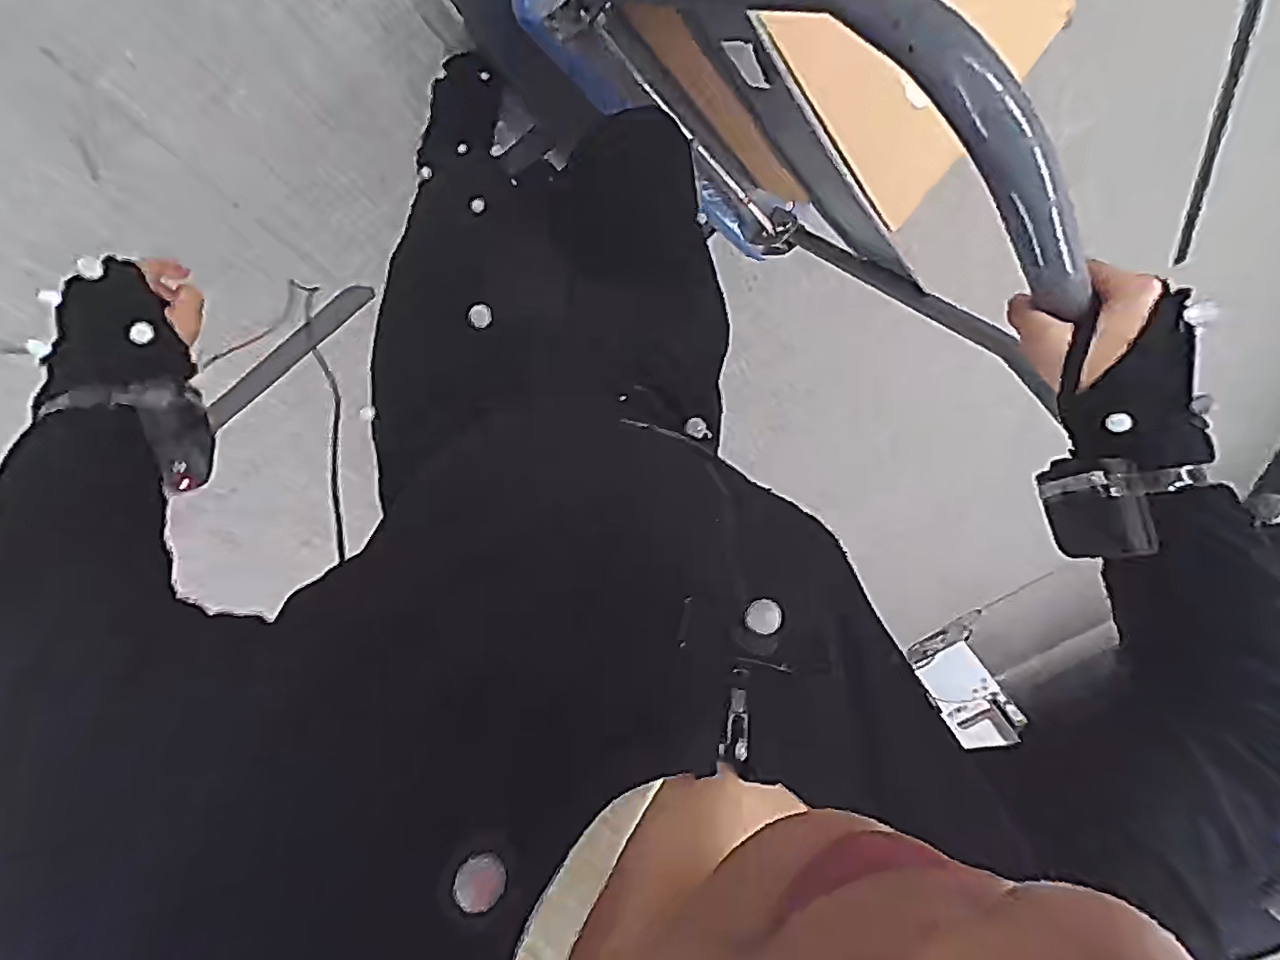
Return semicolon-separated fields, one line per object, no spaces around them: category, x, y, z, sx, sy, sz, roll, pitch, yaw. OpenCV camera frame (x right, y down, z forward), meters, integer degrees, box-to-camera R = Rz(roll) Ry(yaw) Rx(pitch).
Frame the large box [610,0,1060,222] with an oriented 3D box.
large box;0.228;-0.609;0.674;0.408;0.320;0.320;24;110;-42
